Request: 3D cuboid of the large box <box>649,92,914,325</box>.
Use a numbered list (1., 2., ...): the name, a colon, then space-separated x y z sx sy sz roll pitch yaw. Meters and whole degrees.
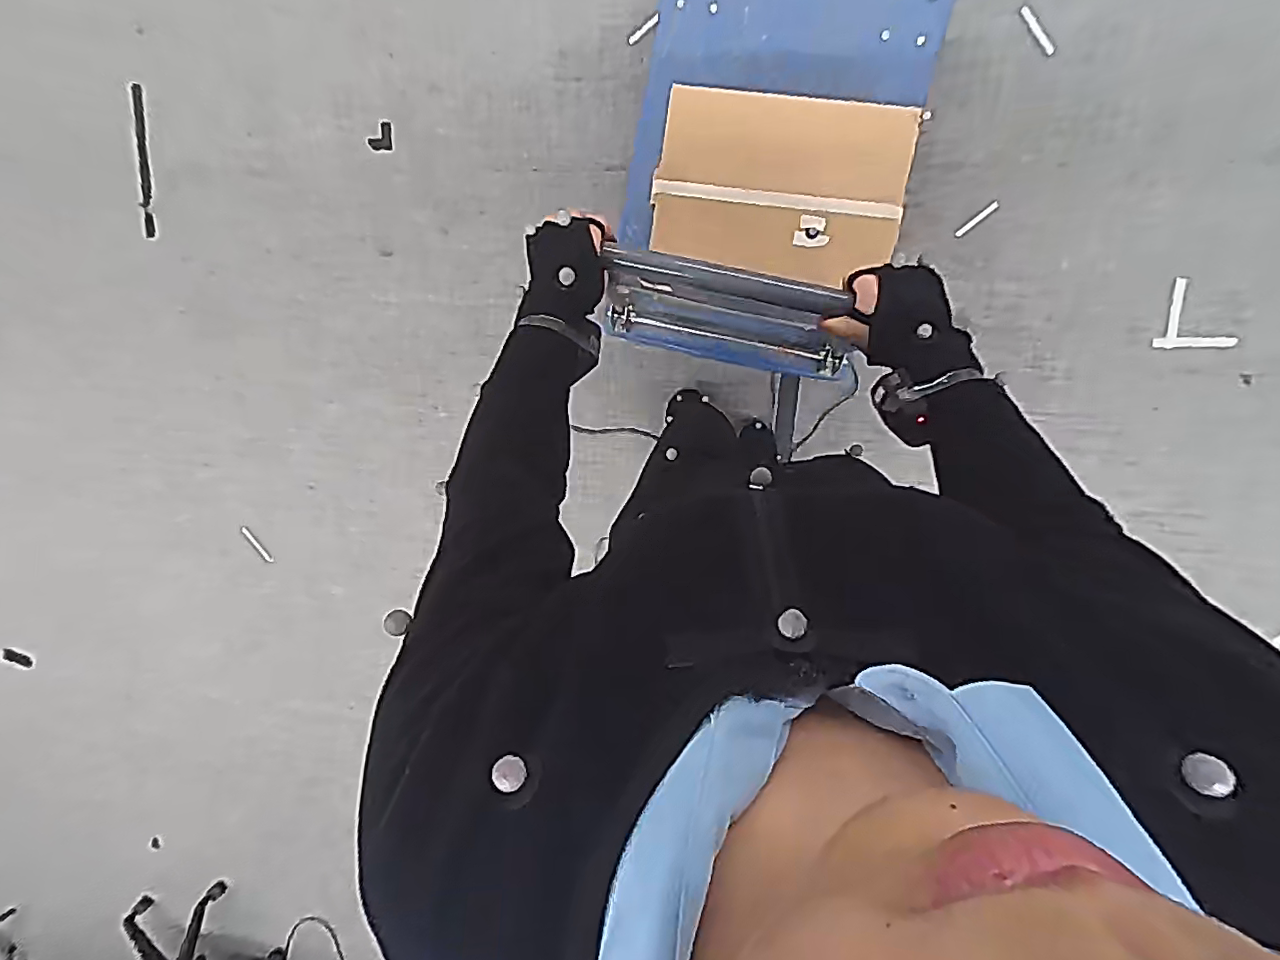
1. large box: 0.244 -0.499 1.061 0.408 0.320 0.320 9 102 4
